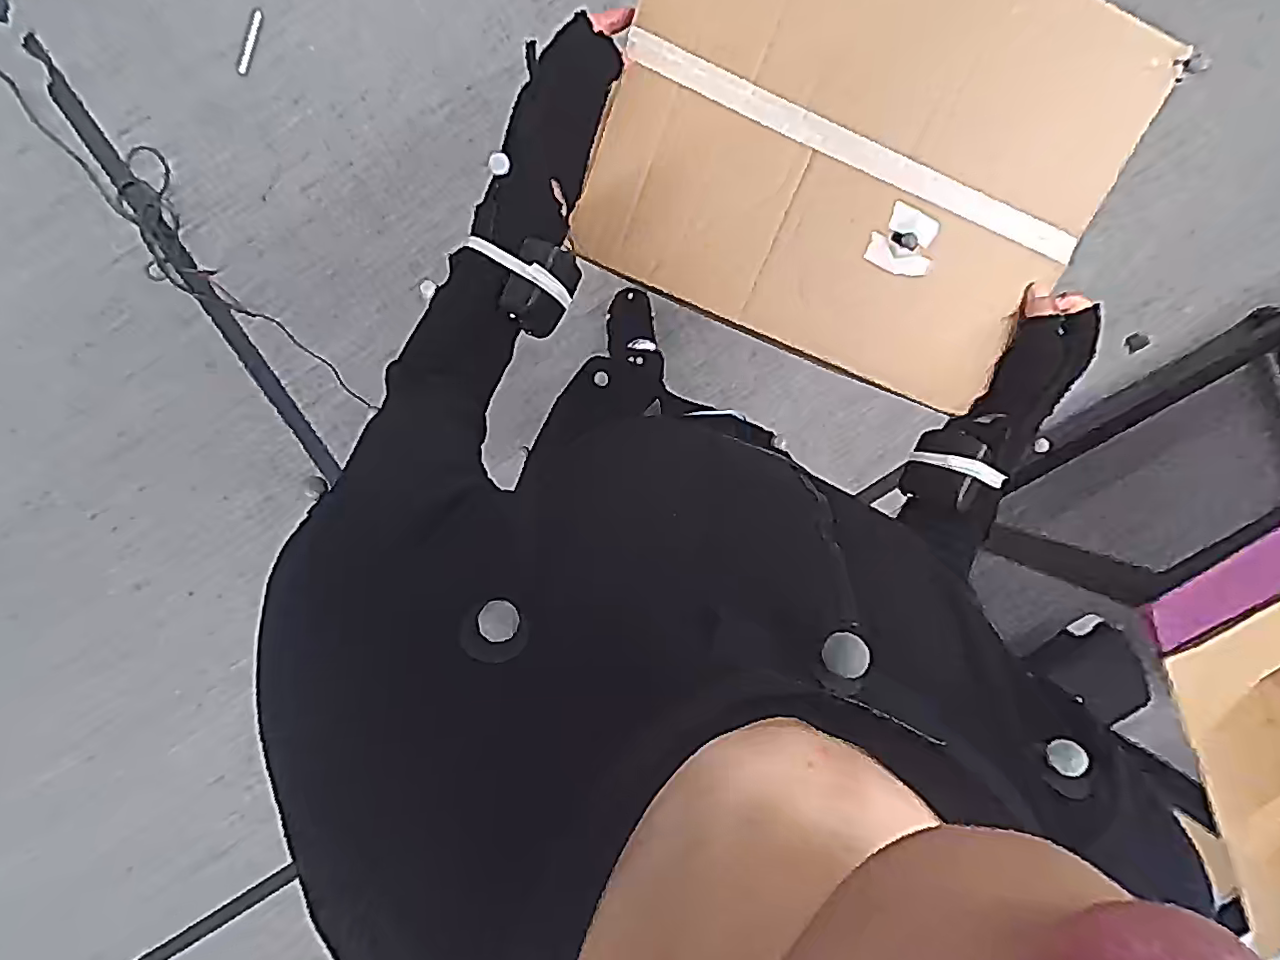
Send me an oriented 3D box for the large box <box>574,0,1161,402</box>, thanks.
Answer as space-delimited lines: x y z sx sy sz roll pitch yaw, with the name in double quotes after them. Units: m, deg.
0.176 -0.322 0.591 0.408 0.320 0.320 21 108 -8 "large box"
